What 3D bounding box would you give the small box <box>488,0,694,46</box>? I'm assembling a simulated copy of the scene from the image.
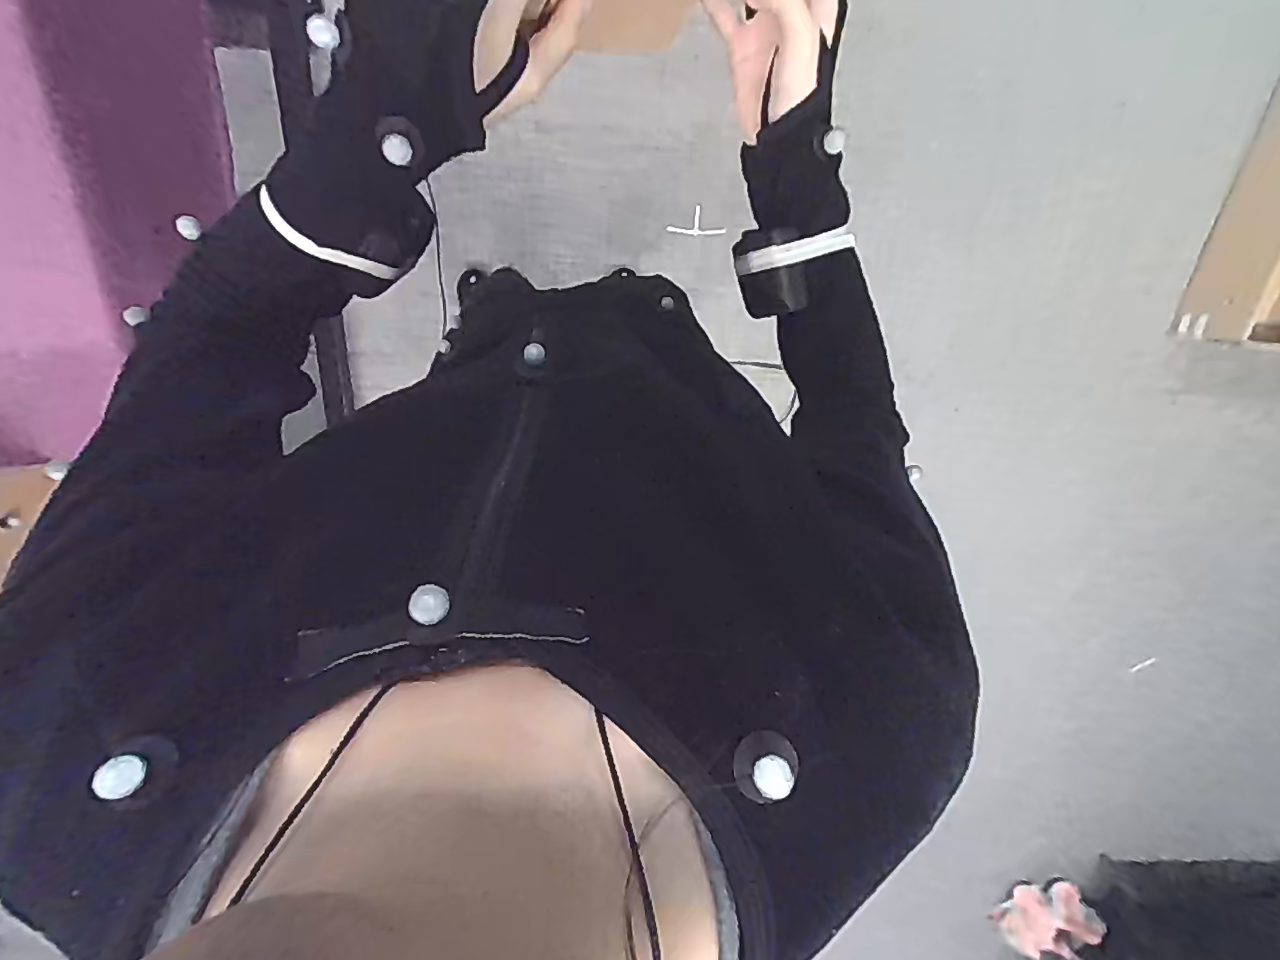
[{"bbox_3d":[-0.030,-0.362,0.260,0.176,0.168,0.179,47,136,-5],"label":"small box"}]
